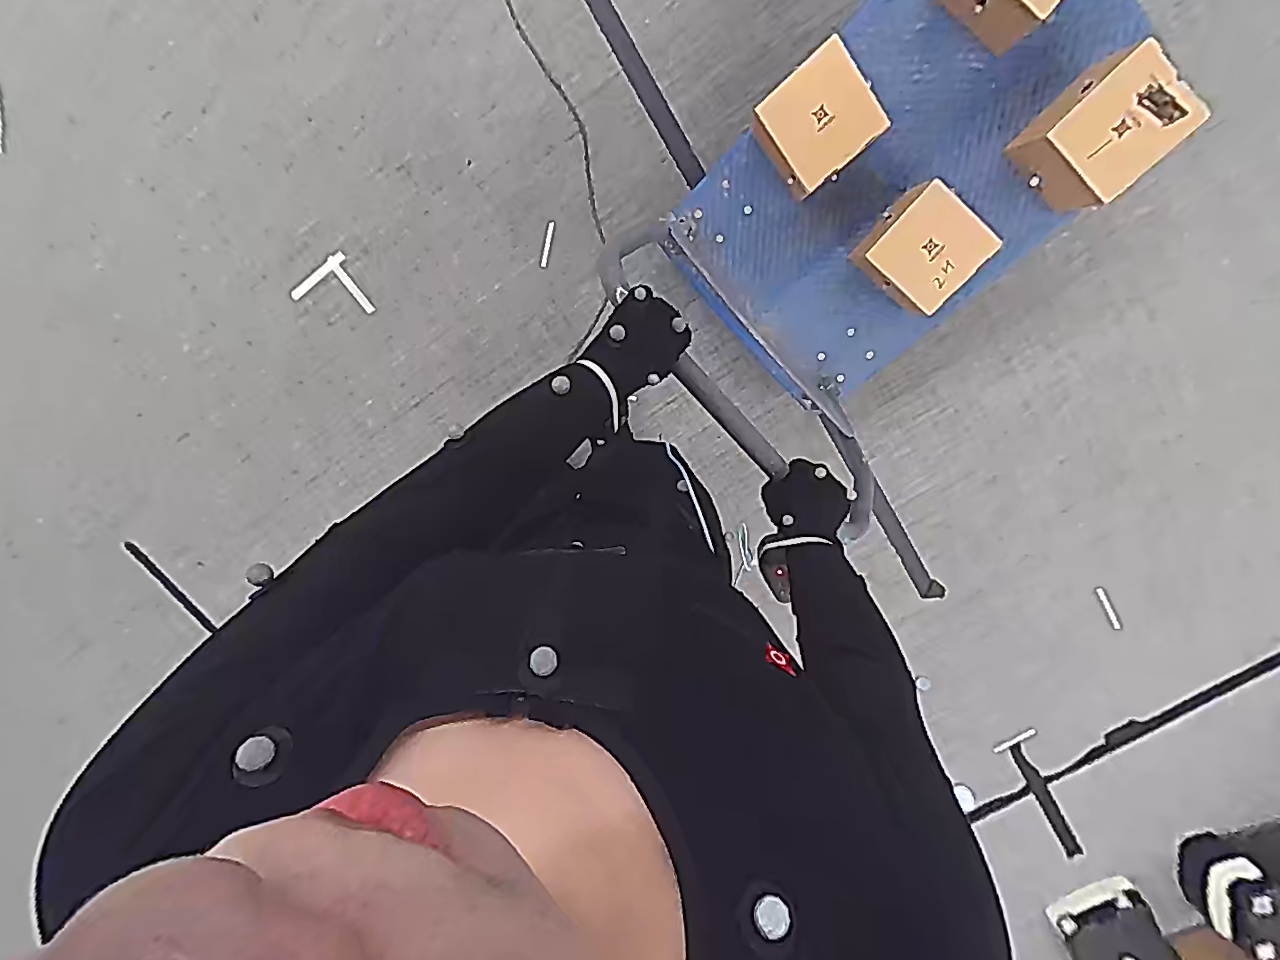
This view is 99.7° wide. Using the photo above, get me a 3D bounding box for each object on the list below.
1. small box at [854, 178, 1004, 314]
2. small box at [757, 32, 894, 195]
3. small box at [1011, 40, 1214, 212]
[{"bbox_3d":[0.550,-0.449,1.058,0.179,0.176,0.168,40,113,-7],"label":"small box"},{"bbox_3d":[0.334,-0.664,1.009,0.168,0.176,0.179,-35,104,20],"label":"small box"},{"bbox_3d":[0.810,-0.603,0.950,0.168,0.176,0.179,43,113,-8],"label":"small box"}]
